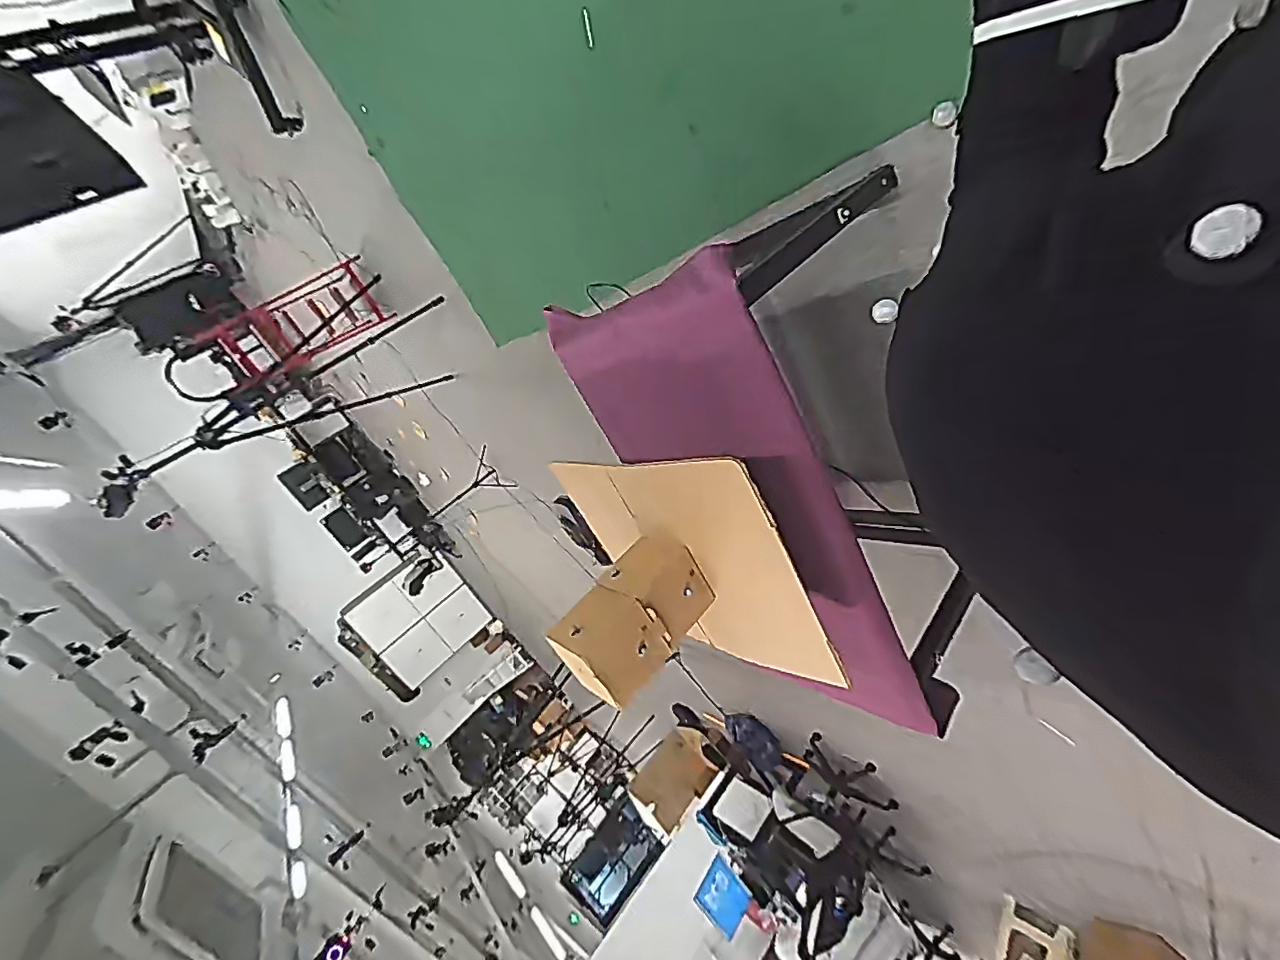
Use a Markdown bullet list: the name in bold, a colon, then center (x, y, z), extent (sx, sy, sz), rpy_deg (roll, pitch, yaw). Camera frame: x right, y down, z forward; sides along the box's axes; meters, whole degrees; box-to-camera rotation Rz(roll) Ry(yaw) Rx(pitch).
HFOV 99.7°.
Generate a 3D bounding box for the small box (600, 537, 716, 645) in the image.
- **small box**: center (0.044, 0.252, 1.268), extent (0.179, 0.176, 0.168), rpy_deg (5, 132, 54)

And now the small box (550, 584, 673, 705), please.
- **small box**: center (-0.061, 0.351, 1.190), extent (0.179, 0.176, 0.168), rpy_deg (2, 128, 55)
